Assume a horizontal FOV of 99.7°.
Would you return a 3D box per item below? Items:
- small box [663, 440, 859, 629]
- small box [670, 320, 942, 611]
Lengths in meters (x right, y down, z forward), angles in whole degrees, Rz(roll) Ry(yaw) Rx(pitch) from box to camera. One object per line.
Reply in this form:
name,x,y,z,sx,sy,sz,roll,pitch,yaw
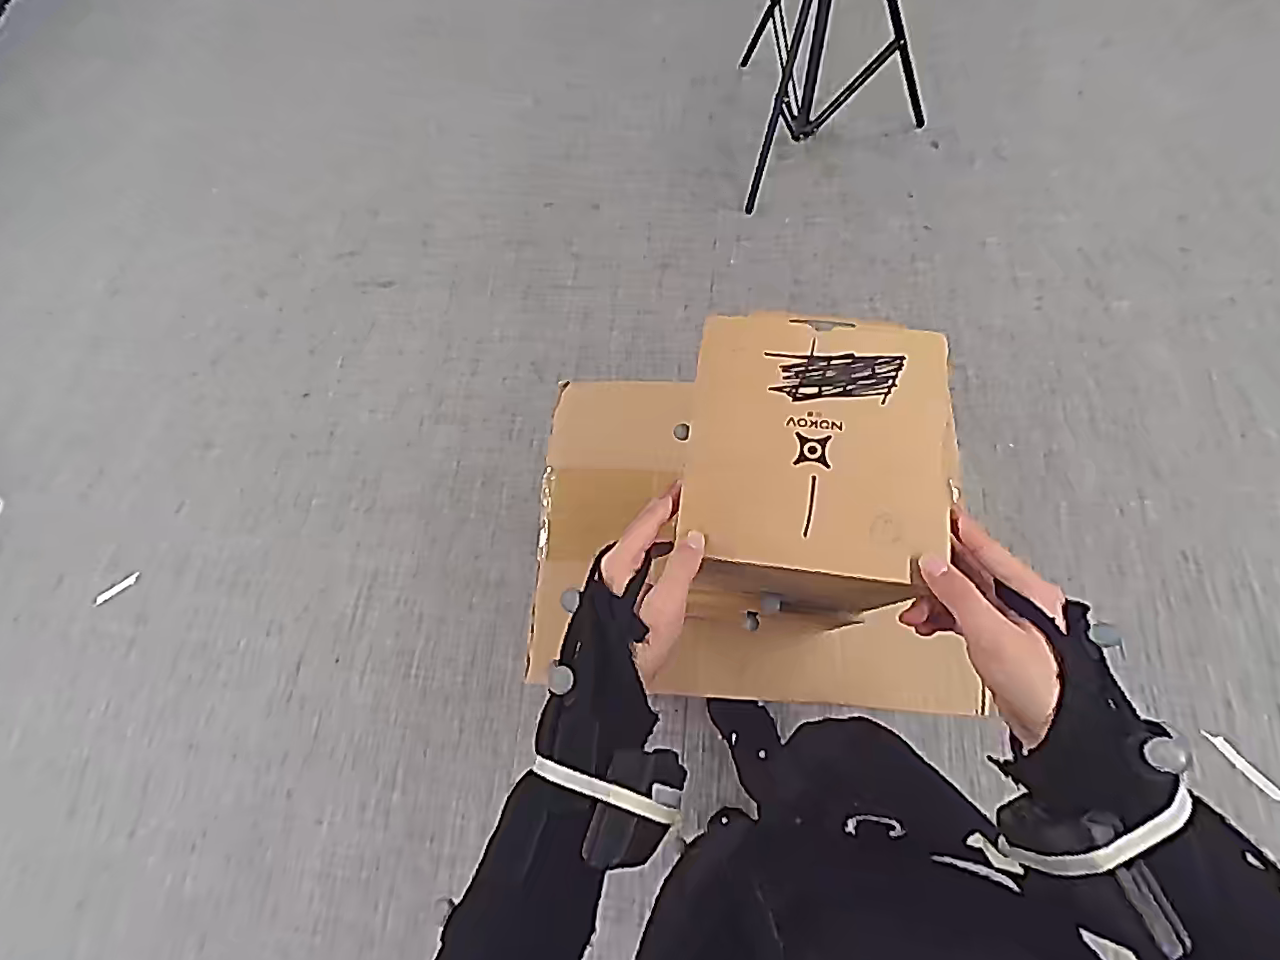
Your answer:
small box,0.127,0.065,0.583,0.179,0.176,0.168,5,73,9
small box,0.118,0.000,0.430,0.168,0.176,0.179,7,74,8
